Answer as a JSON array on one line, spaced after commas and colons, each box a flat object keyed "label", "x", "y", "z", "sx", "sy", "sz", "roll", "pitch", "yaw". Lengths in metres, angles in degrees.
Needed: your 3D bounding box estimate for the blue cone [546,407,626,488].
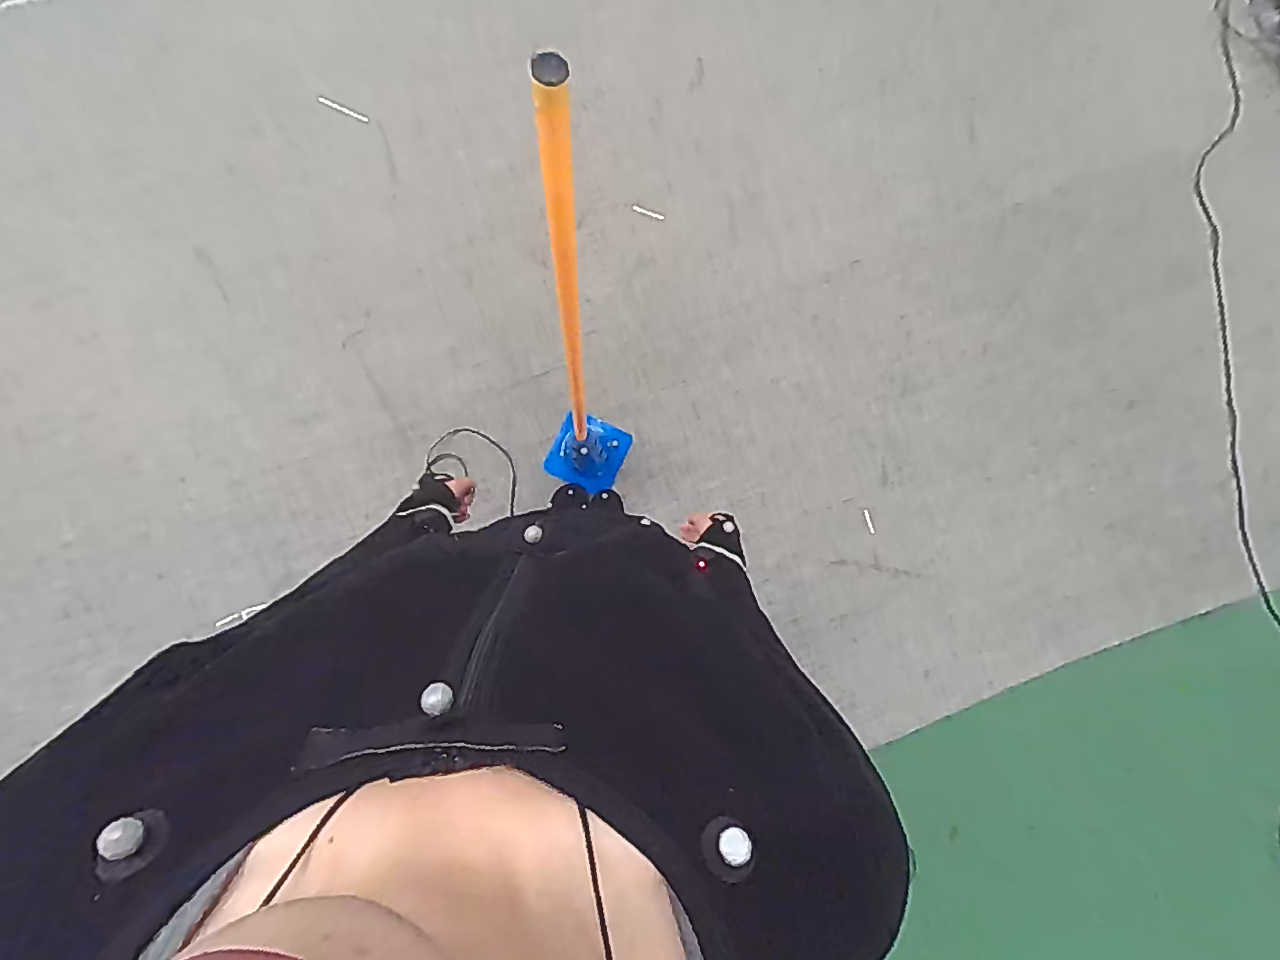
[{"label": "blue cone", "x": -0.138, "y": -0.101, "z": 1.326, "sx": 0.192, "sy": 0.380, "sz": 0.193, "roll": 24, "pitch": 85, "yaw": -2}]
